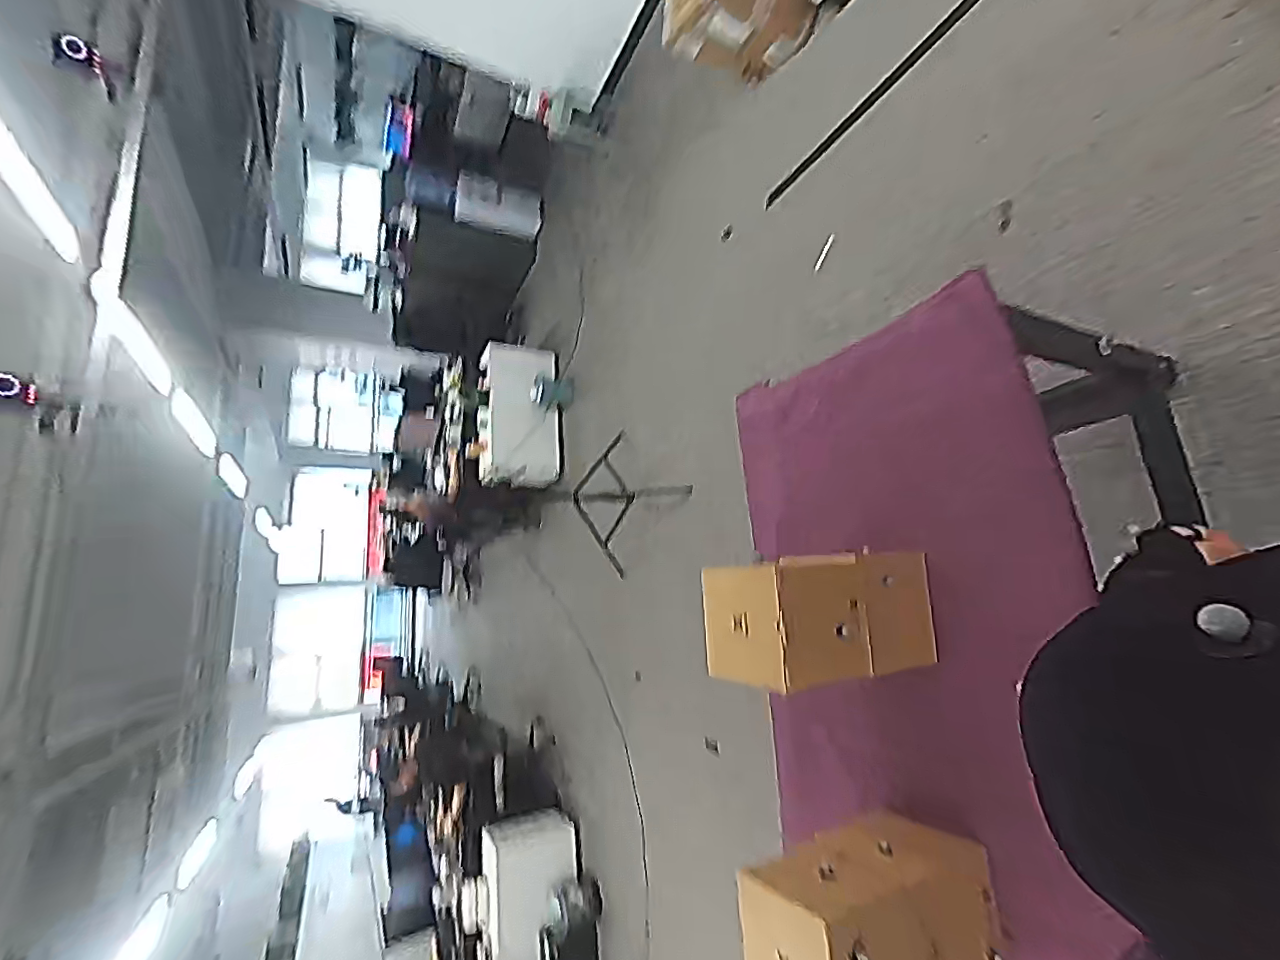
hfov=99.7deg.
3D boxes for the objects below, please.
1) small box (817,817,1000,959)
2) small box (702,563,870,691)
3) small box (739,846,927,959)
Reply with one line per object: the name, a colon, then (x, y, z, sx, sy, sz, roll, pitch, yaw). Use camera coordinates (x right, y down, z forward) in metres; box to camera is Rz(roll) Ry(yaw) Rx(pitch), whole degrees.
small box: (0.395, 0.624, 0.795, 0.179, 0.176, 0.168, -27, 64, 58)
small box: (0.215, 0.213, 0.820, 0.179, 0.176, 0.168, -22, 68, 59)
small box: (0.254, 0.617, 0.708, 0.168, 0.176, 0.179, -27, 64, 58)
